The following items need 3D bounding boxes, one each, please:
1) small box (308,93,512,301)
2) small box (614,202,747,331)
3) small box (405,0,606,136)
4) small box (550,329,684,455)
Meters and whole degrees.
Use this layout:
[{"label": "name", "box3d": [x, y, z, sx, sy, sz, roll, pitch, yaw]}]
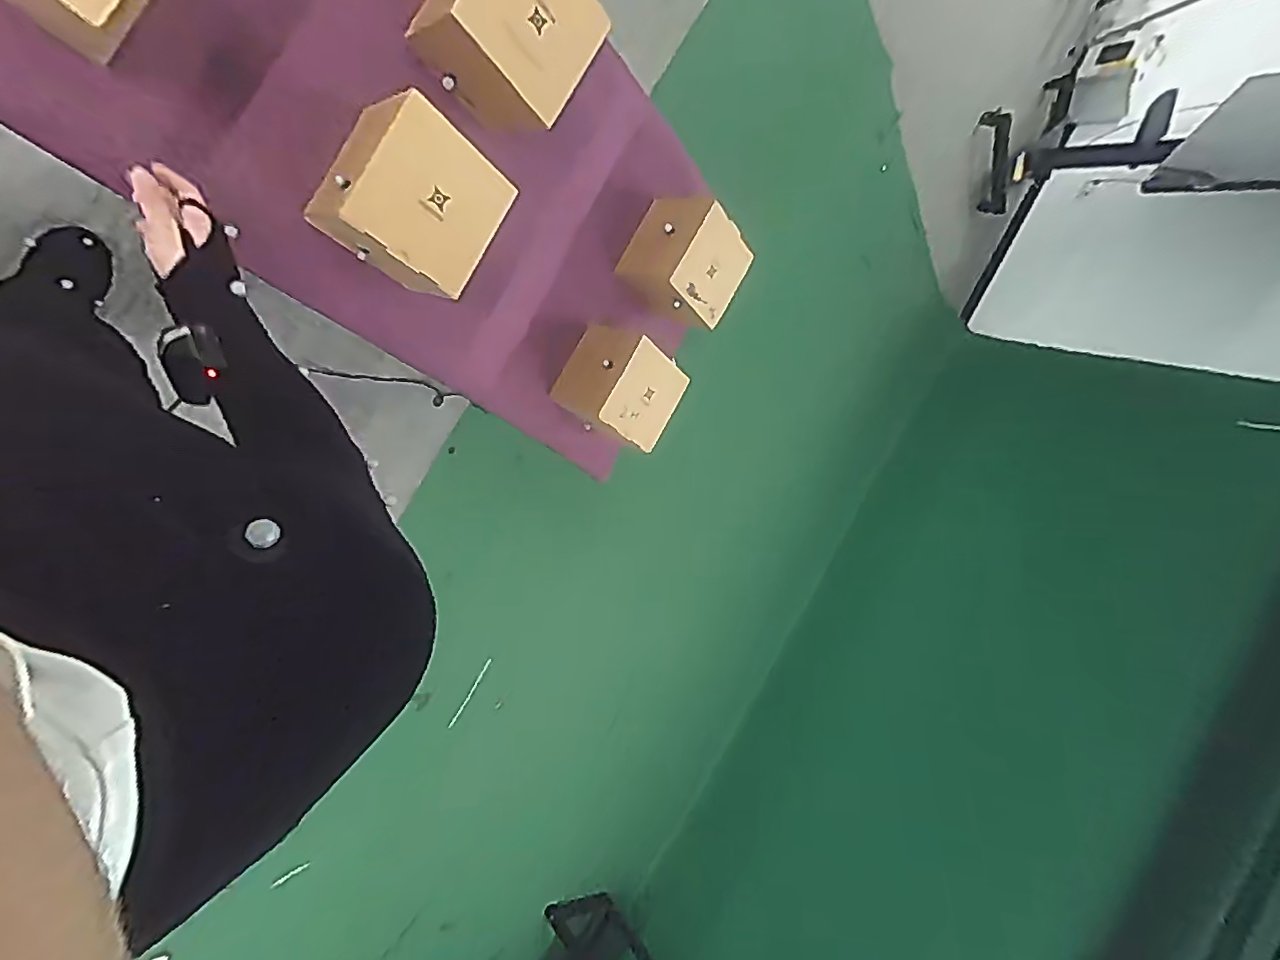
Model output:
[{"label": "small box", "box3d": [-0.314, -0.374, 0.731, 0.168, 0.176, 0.179, 31, 87, -48]}, {"label": "small box", "box3d": [0.077, -0.427, 1.084, 0.168, 0.176, 0.179, 31, 87, -47]}, {"label": "small box", "box3d": [-0.187, -0.609, 0.737, 0.168, 0.176, 0.179, 33, 87, -47]}, {"label": "small box", "box3d": [-0.050, -0.181, 1.079, 0.168, 0.176, 0.179, 34, 84, -46]}]
